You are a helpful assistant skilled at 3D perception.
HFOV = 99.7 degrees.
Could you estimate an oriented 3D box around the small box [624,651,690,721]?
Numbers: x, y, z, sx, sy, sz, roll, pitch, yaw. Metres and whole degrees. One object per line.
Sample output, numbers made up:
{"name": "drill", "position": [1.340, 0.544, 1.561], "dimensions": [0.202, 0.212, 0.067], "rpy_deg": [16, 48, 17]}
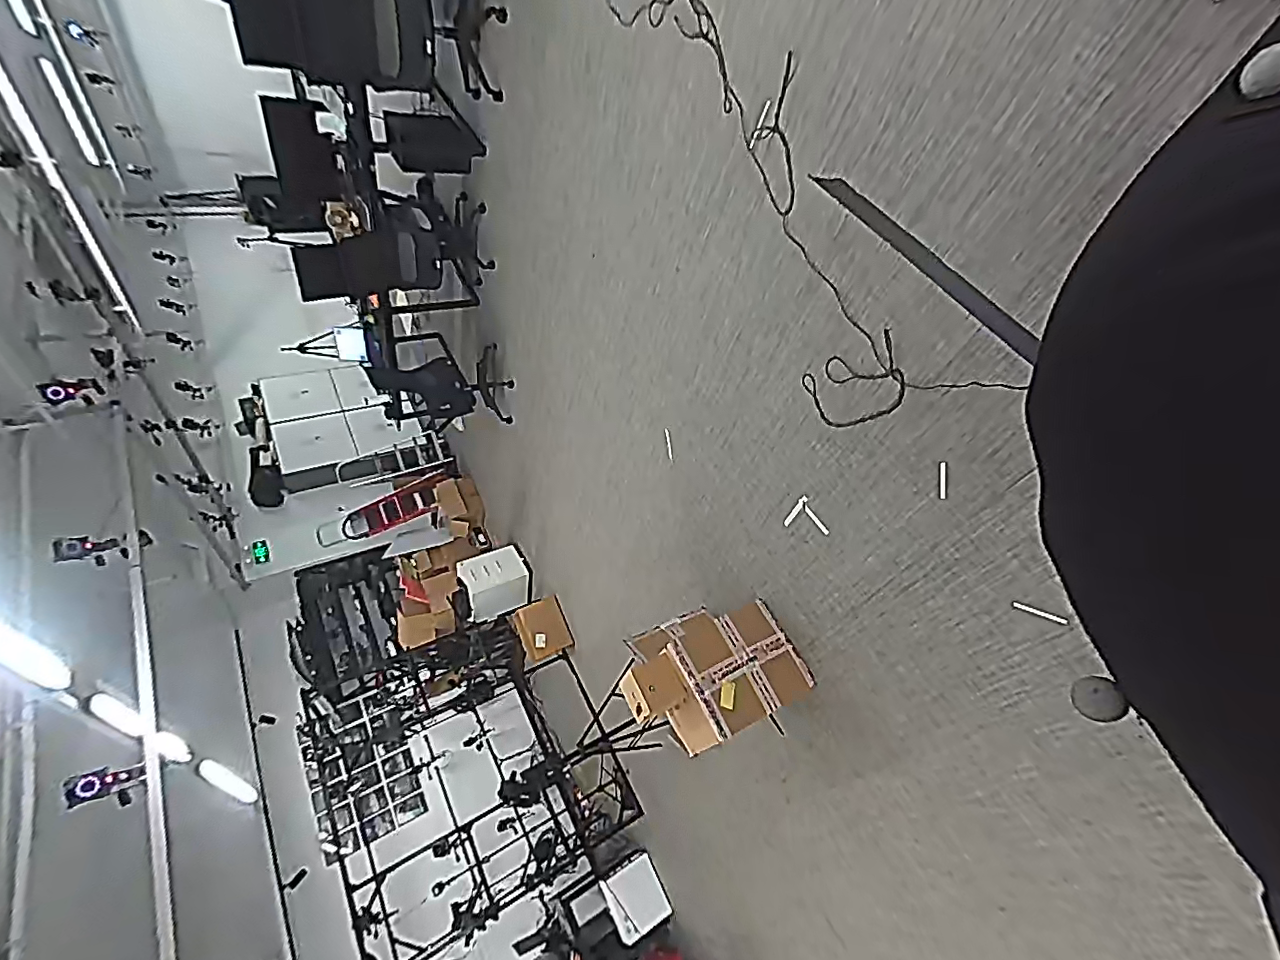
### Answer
{"name": "small box", "position": [0.066, 0.792, 2.088], "dimensions": [0.179, 0.176, 0.168], "rpy_deg": [59, 146, 28]}
